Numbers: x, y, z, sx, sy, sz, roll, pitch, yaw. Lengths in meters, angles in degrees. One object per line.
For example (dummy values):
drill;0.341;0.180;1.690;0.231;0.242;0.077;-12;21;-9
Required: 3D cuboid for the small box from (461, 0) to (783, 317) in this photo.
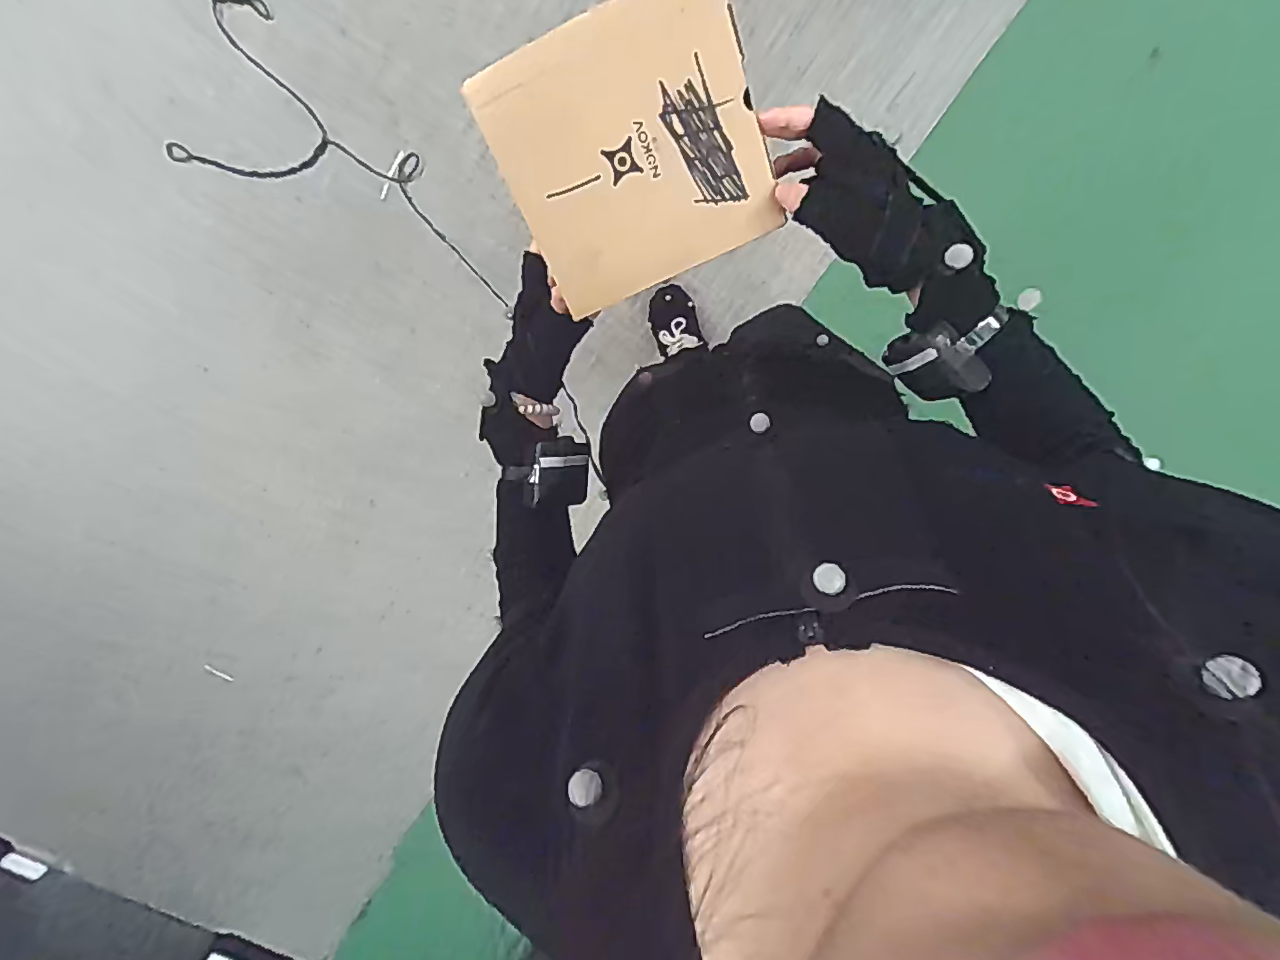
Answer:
small box;-0.010;-0.257;0.432;0.179;0.176;0.168;-21;118;9
